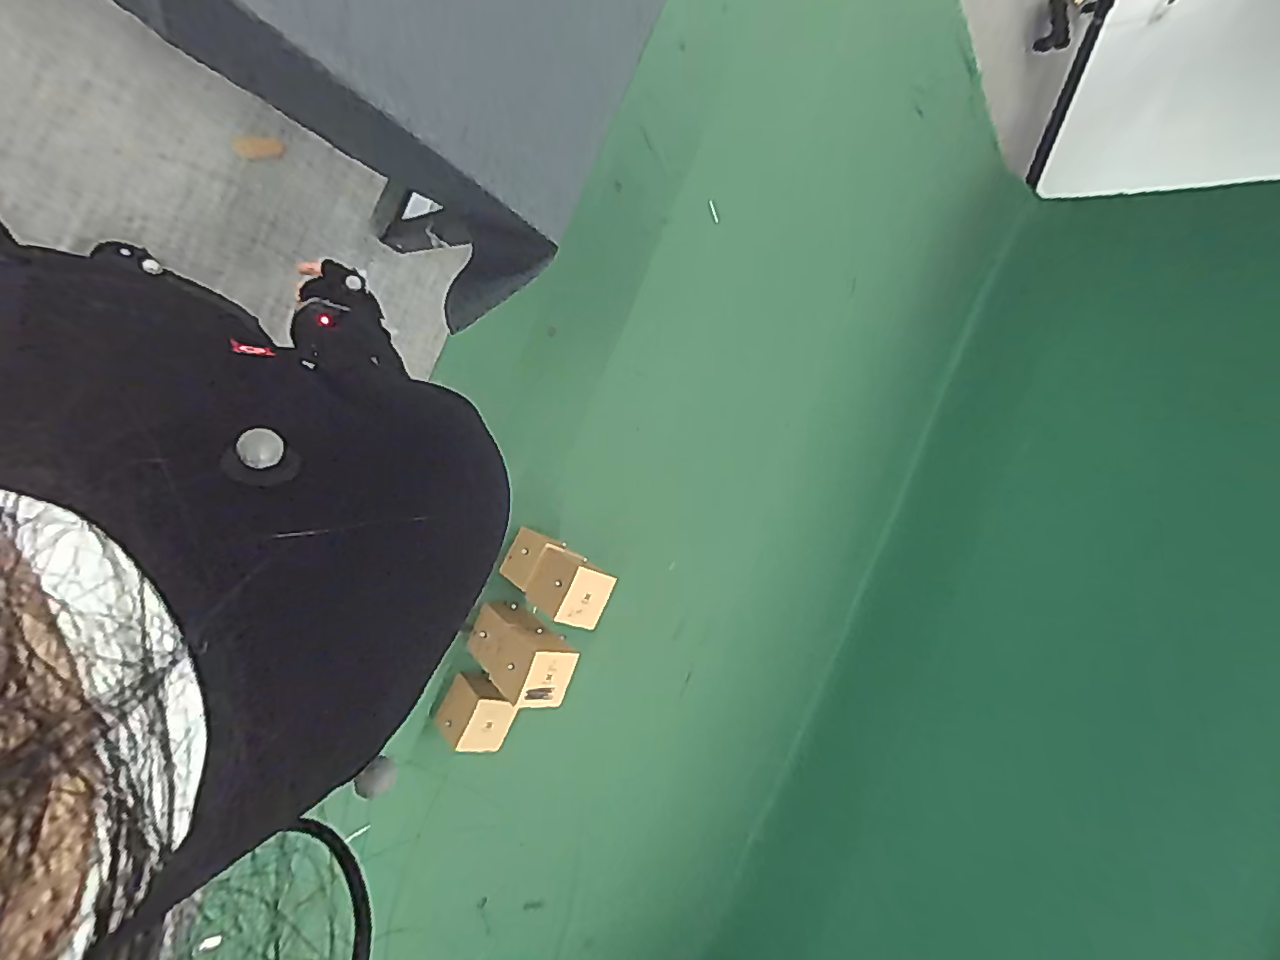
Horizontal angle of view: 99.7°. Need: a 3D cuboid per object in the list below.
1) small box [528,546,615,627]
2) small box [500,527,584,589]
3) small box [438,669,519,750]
[{"bbox_3d":[-0.214,0.321,1.647,0.168,0.176,0.179,30,84,-44],"label":"small box"},{"bbox_3d":[-0.323,0.267,1.759,0.179,0.176,0.168,31,83,-44],"label":"small box"},{"bbox_3d":[-0.528,0.742,1.748,0.168,0.176,0.179,30,84,-44],"label":"small box"}]
